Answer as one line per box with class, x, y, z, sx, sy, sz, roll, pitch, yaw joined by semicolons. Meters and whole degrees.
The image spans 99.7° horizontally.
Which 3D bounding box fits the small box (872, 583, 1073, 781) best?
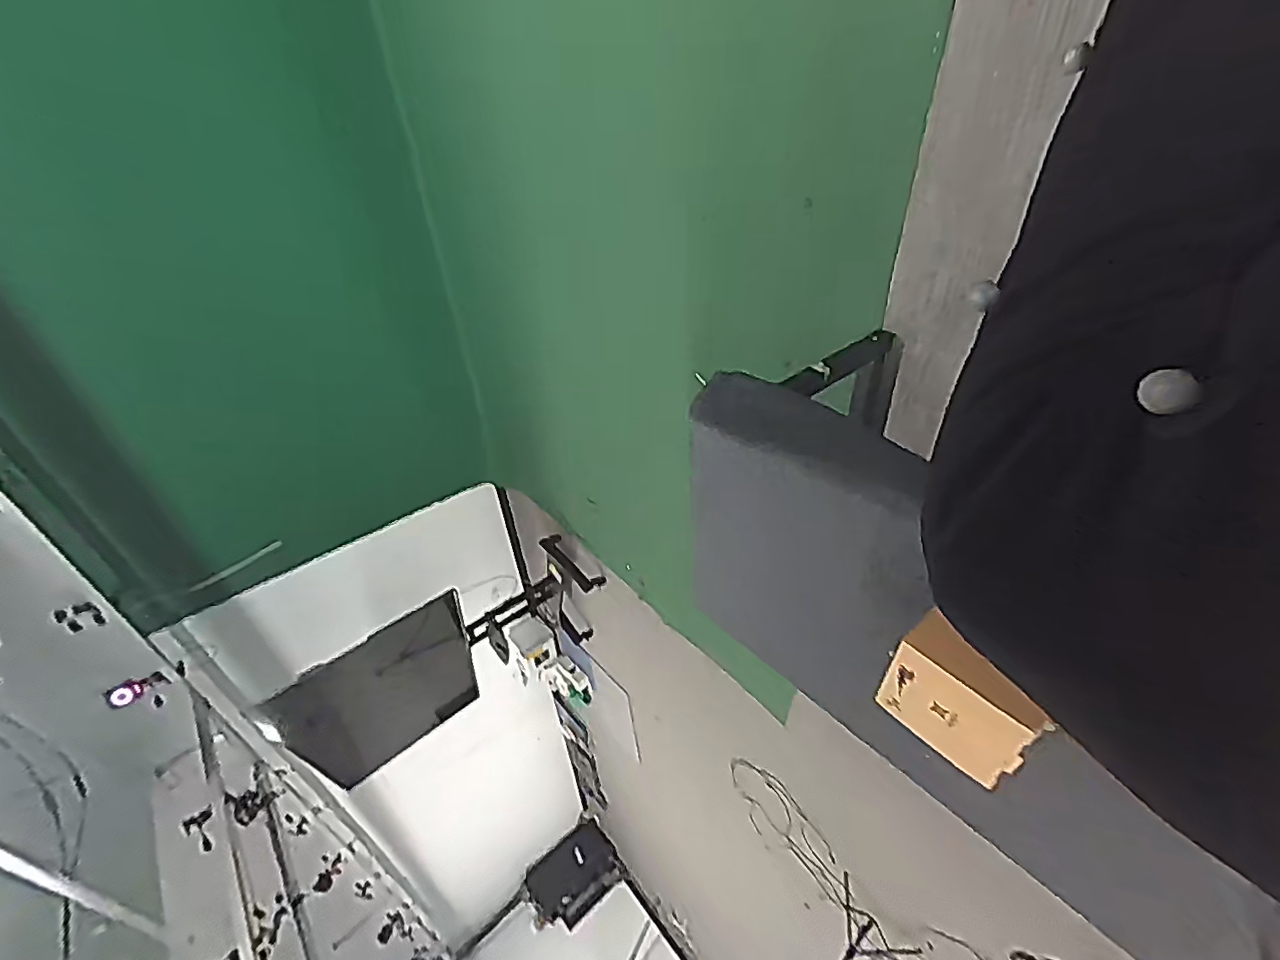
small box;0.481;0.285;0.792;0.179;0.176;0.168;37;143;37
